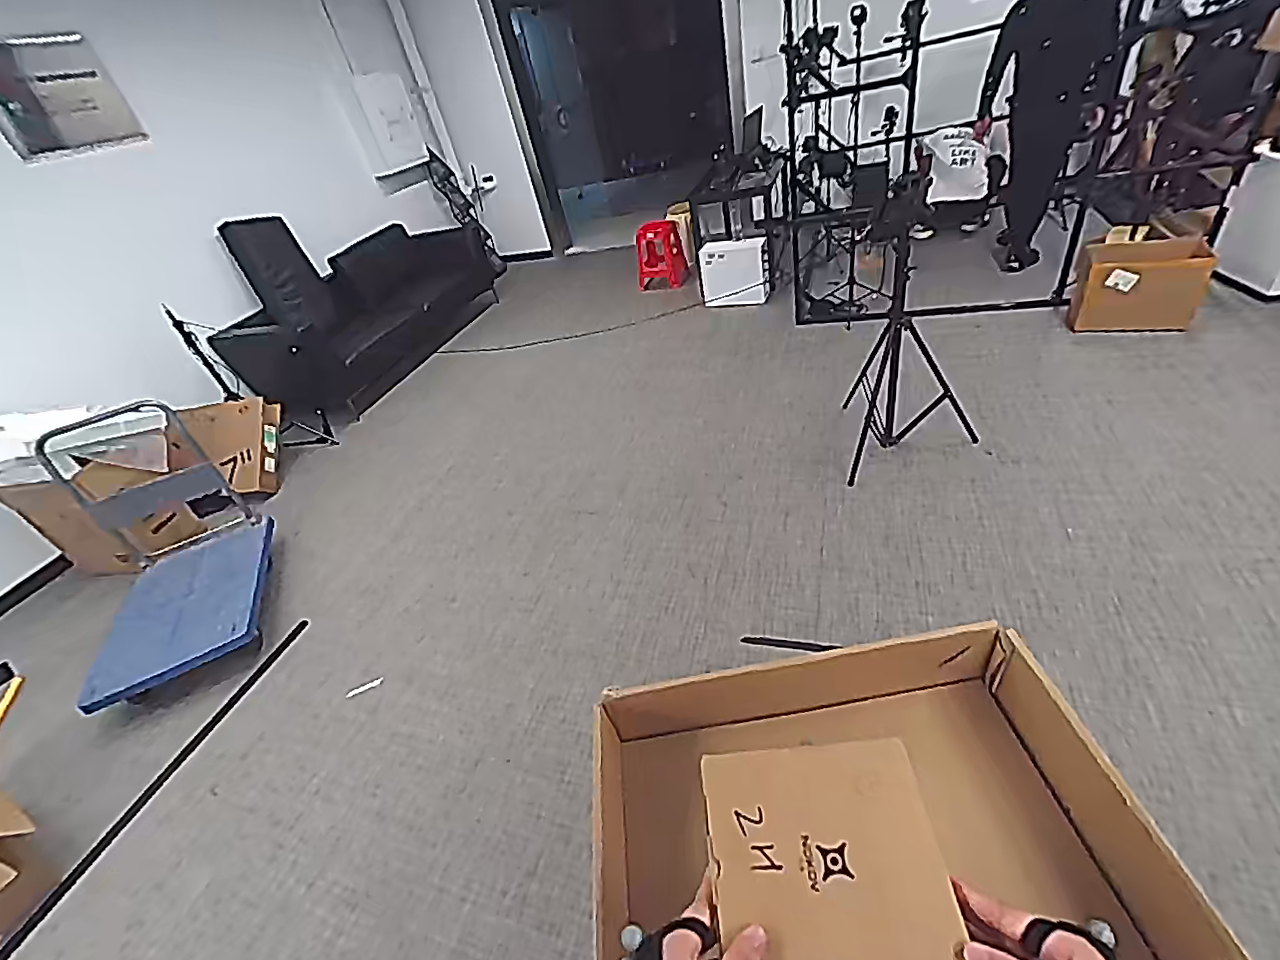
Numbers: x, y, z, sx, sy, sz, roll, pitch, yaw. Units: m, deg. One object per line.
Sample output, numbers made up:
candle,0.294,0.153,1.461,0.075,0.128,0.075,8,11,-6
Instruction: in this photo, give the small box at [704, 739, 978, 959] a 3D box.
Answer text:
small box,0.158,0.344,0.476,0.179,0.176,0.168,-9,47,8
